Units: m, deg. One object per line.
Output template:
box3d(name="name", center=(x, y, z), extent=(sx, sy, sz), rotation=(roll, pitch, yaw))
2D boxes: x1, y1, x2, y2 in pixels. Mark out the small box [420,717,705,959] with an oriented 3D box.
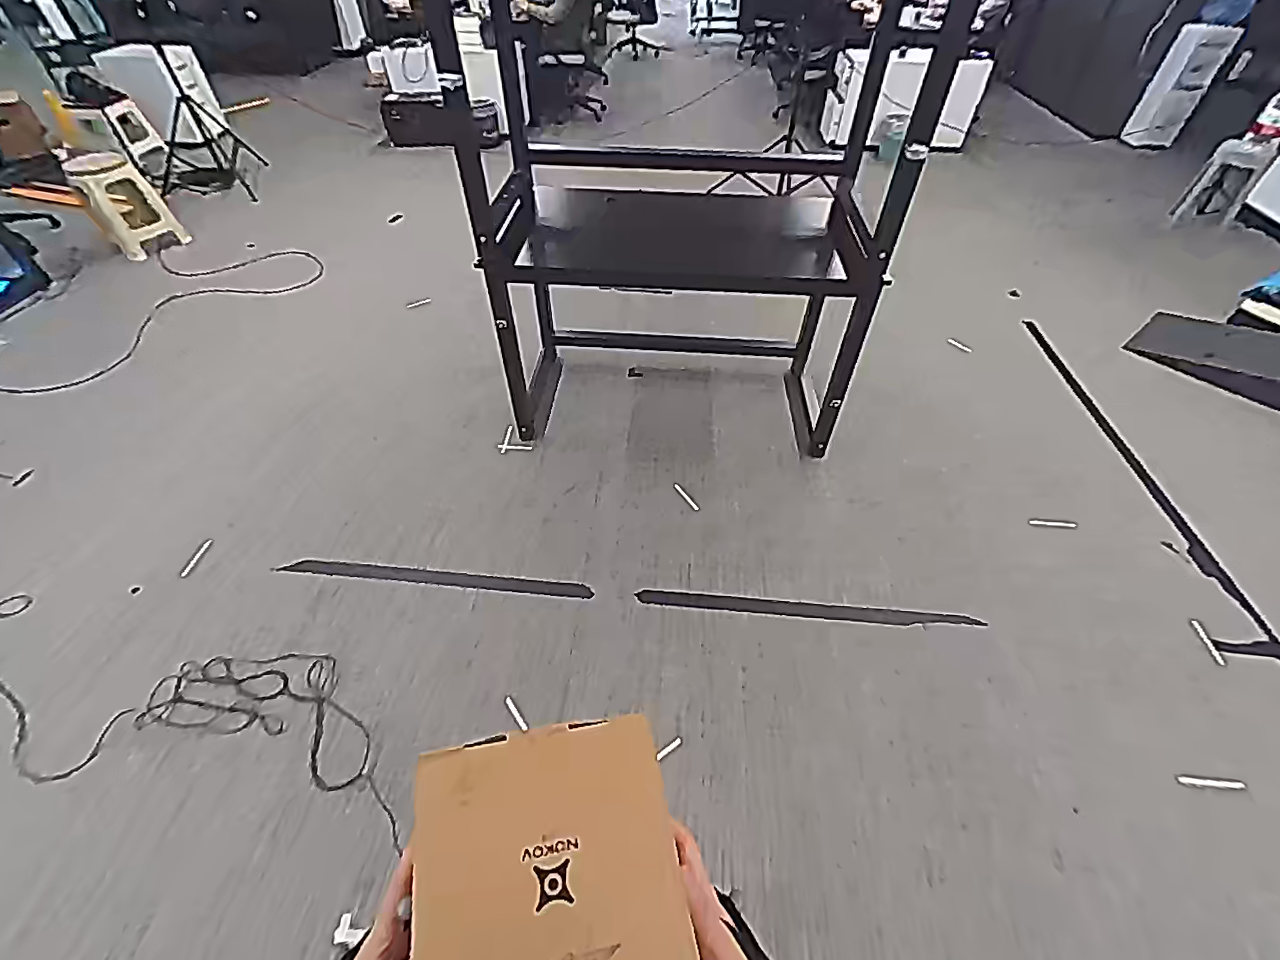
box3d(name="small box", center=(-0.064, 0.299, 0.397), extent=(0.168, 0.176, 0.179), rotation=(-3, 52, -15))
